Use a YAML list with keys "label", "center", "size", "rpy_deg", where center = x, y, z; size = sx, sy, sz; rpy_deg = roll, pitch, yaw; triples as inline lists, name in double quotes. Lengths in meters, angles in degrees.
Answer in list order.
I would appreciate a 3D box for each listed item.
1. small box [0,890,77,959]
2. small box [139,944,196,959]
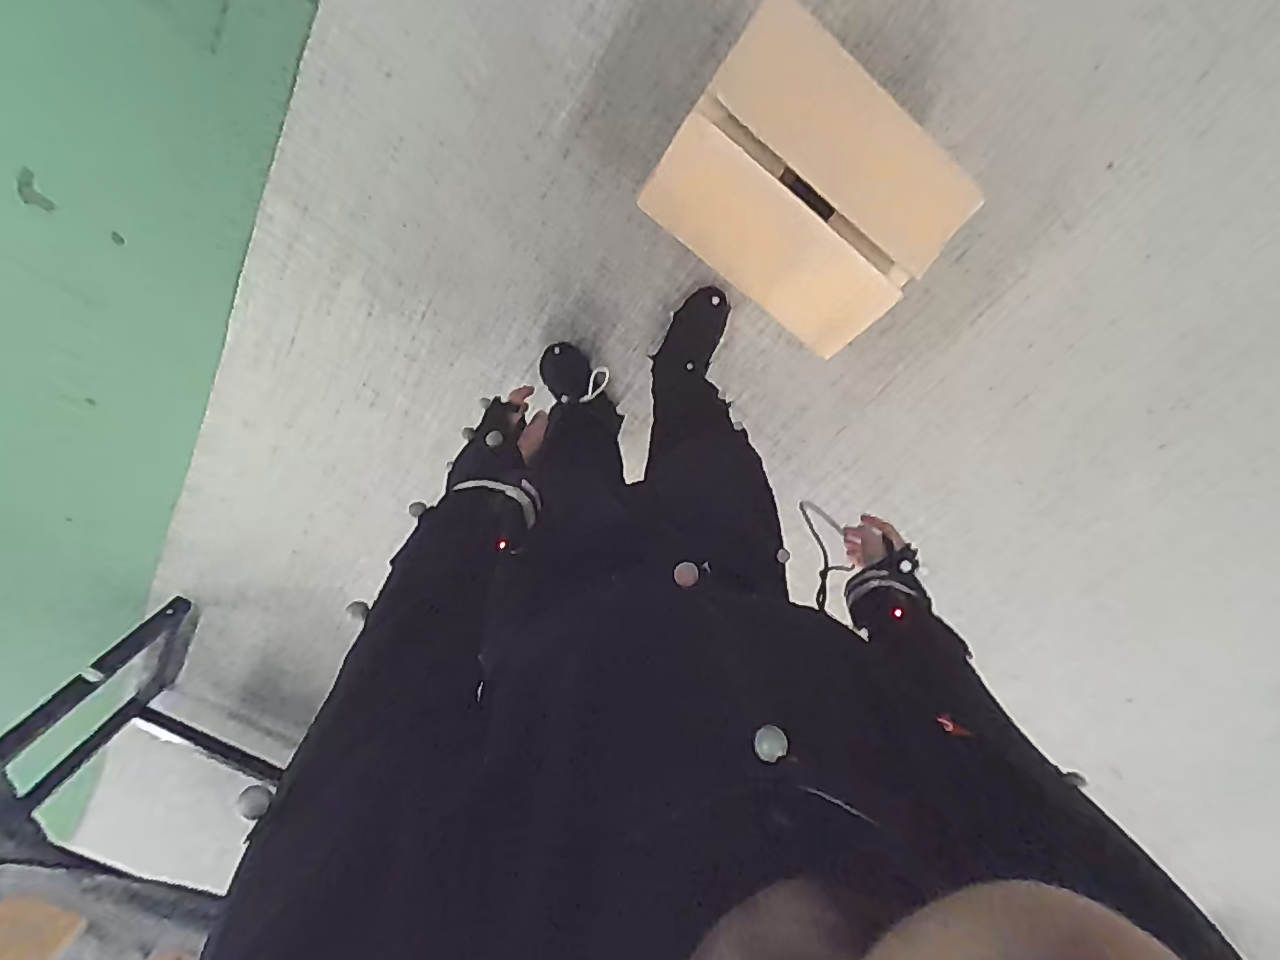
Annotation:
- label: "small box"
  center: [-1.444, 1.071, 1.221]
  size: [0.179, 0.176, 0.168]
  rpy_deg: [36, 117, -12]
- label: "small box"
  center: [-1.177, 1.264, 1.295]
  size: [0.168, 0.176, 0.179]
  rpy_deg: [34, 116, -12]
